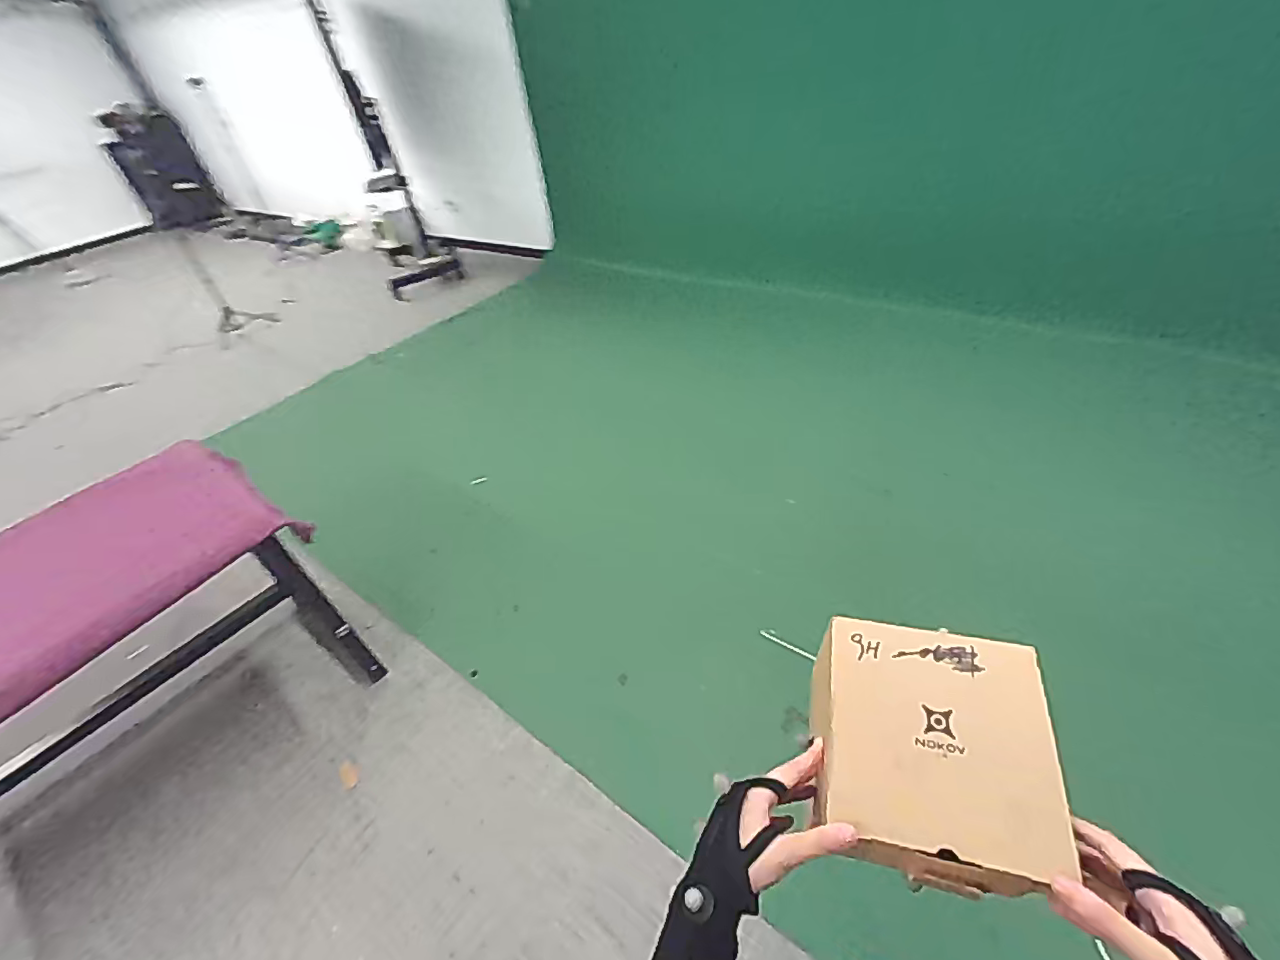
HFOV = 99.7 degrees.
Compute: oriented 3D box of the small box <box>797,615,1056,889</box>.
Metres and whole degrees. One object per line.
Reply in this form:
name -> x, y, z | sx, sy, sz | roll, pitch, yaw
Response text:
small box -> 0.241, 0.250, 0.502 | 0.168, 0.176, 0.179 | 6, 56, 14
